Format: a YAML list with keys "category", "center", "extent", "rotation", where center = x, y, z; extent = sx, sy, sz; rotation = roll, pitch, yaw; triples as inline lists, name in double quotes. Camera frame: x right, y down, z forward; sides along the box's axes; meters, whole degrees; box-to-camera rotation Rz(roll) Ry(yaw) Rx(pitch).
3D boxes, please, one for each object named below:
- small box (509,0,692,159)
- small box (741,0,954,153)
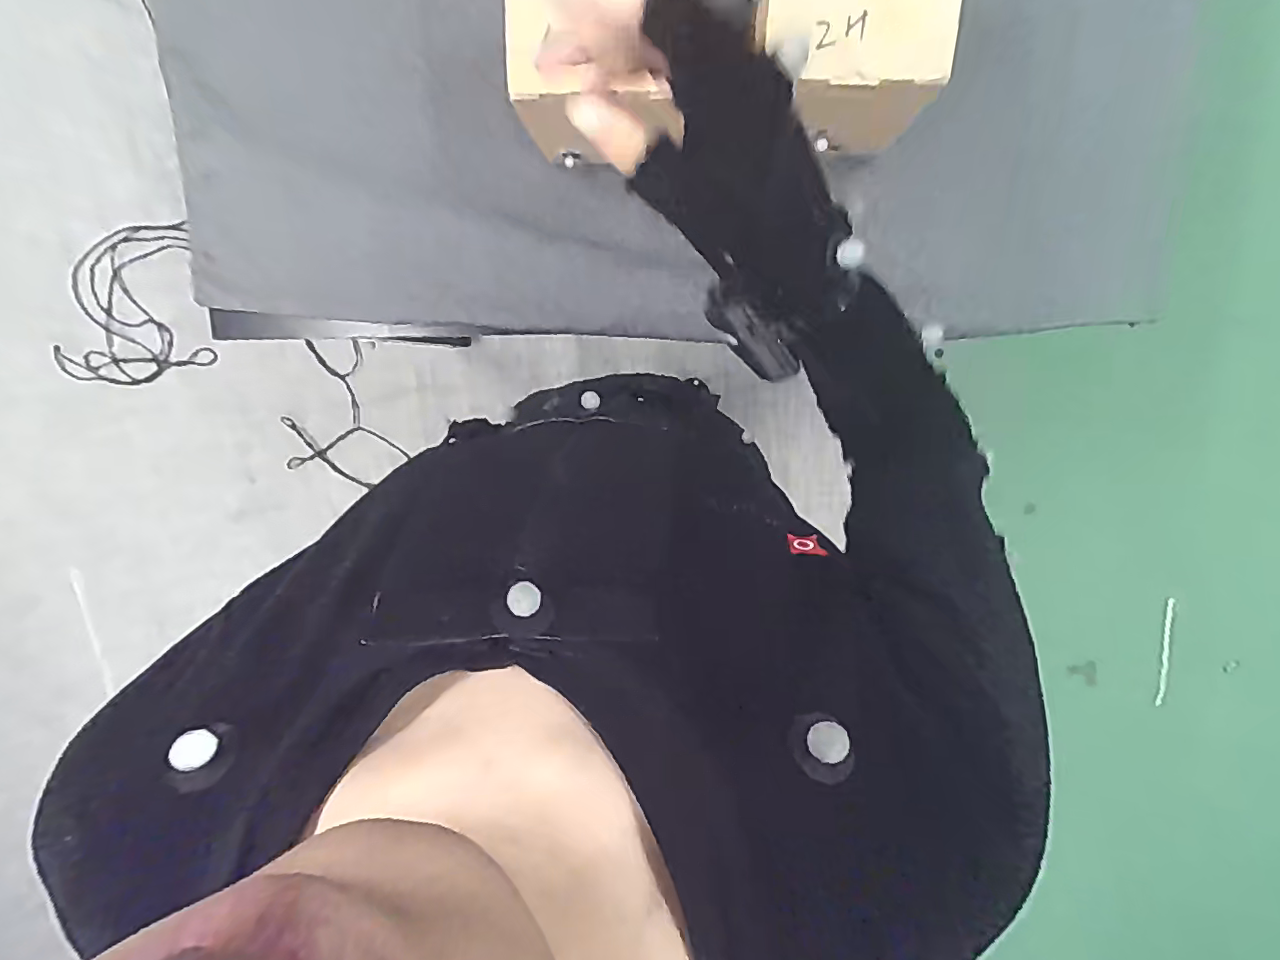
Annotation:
- category: "small box"
  center: [-0.031, -0.457, 0.563]
  extent: [0.168, 0.176, 0.179]
  rotation: [2, 101, 4]
- category: "small box"
  center: [0.200, -0.462, 0.547]
  extent: [0.168, 0.176, 0.179]
  rotation: [7, 105, 4]
